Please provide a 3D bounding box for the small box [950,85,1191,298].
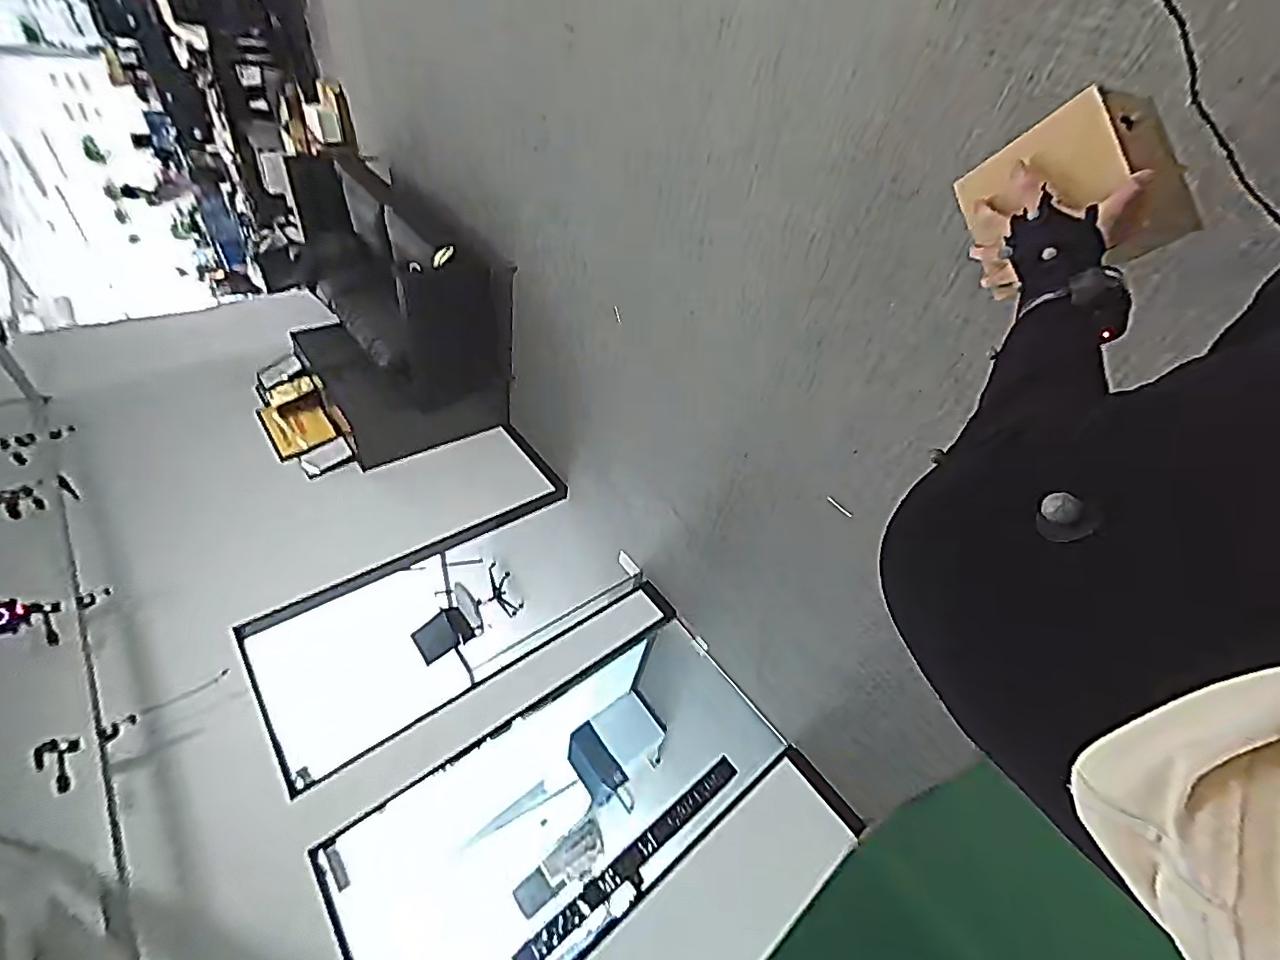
[{"bbox_3d":[0.549,-0.356,0.697,0.168,0.176,0.179,-26,81,61],"label":"small box"}]
